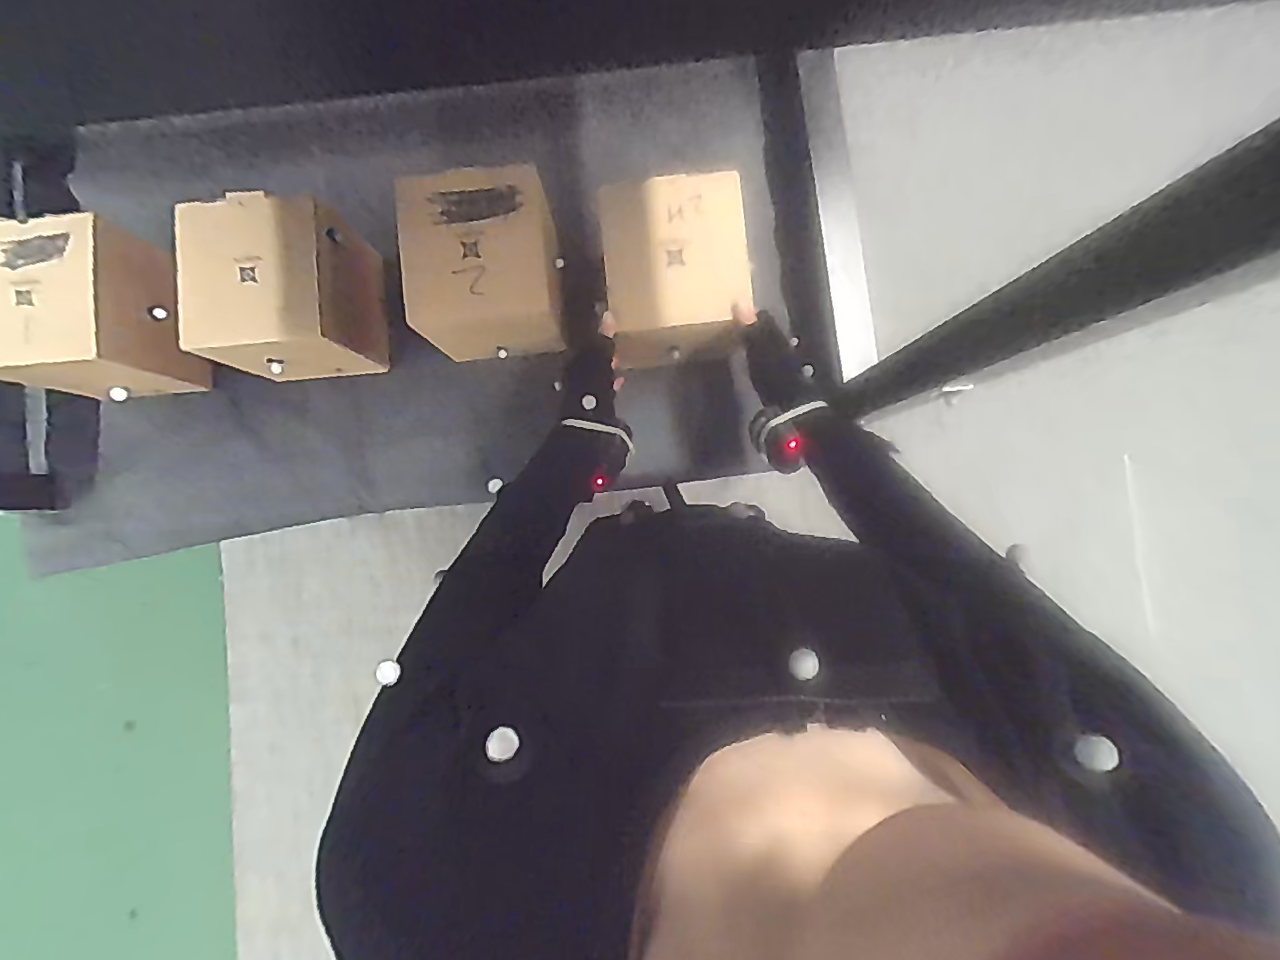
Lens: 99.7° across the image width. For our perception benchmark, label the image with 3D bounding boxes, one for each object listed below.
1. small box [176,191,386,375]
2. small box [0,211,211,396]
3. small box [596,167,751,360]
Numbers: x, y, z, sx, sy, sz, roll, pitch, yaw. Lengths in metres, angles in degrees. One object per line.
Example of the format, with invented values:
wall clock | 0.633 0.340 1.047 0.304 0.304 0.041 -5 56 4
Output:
small box | -0.450 -0.240 0.704 0.168 0.176 0.179 -5 87 0
small box | -0.702 -0.216 0.701 0.168 0.176 0.179 -5 88 0
small box | 0.040 -0.261 0.697 0.168 0.176 0.179 -6 86 1
